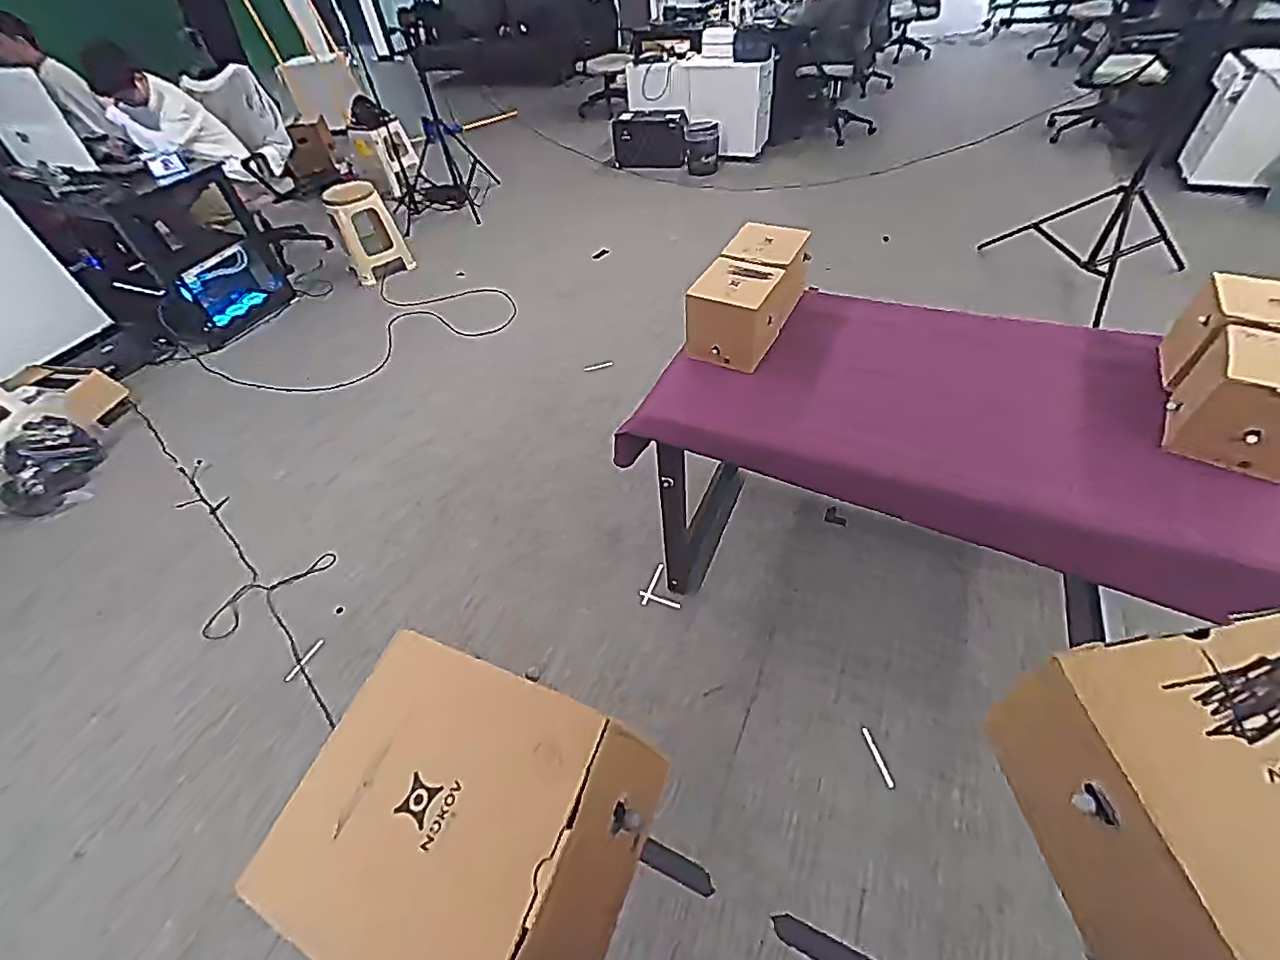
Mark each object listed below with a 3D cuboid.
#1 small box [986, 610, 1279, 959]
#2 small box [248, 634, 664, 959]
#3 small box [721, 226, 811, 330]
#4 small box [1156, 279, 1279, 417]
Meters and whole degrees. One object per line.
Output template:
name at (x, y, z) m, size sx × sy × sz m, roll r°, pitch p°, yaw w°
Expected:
small box at (0.357, 0.203, 0.337) m, size 0.168 × 0.176 × 0.179 m, roll -13°, pitch 53°, yaw 5°
small box at (-0.099, 0.234, 0.374) m, size 0.179 × 0.176 × 0.168 m, roll 11°, pitch 58°, yaw 25°
small box at (0.305, -0.500, 1.340) m, size 0.168 × 0.176 × 0.179 m, roll 20°, pitch 54°, yaw 22°
small box at (1.133, -0.251, 1.029) m, size 0.168 × 0.176 × 0.179 m, roll 20°, pitch 52°, yaw 22°
